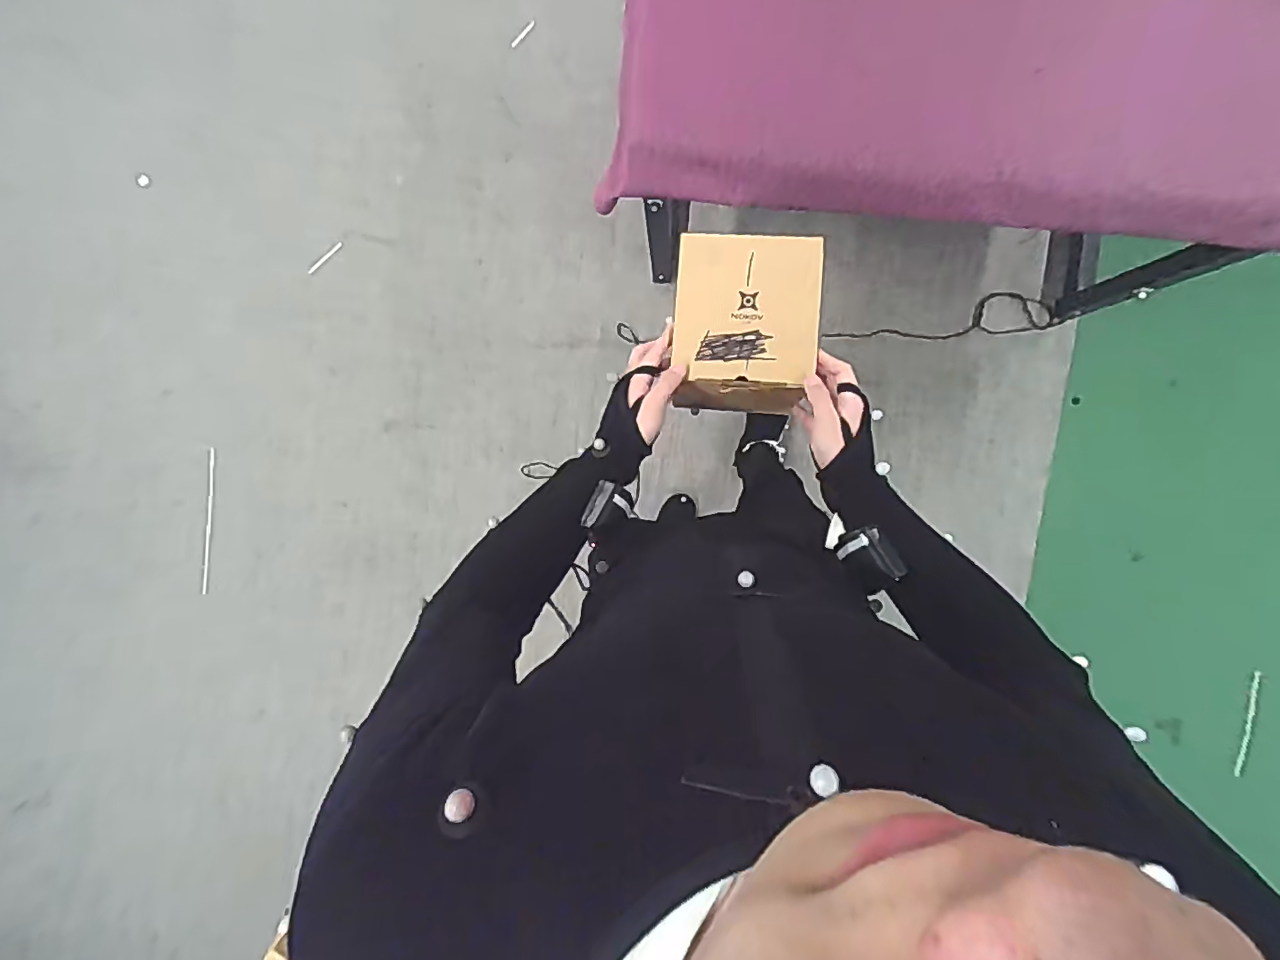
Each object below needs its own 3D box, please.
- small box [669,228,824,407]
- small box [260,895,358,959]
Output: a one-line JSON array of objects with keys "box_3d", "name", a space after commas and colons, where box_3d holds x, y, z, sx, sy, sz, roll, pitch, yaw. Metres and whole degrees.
[{"box_3d": [0.129, -0.196, 0.697, 0.168, 0.176, 0.179, 5, 86, 5], "name": "small box"}, {"box_3d": [-0.852, 1.210, 1.353, 0.168, 0.176, 0.179, 37, 93, 0], "name": "small box"}]
